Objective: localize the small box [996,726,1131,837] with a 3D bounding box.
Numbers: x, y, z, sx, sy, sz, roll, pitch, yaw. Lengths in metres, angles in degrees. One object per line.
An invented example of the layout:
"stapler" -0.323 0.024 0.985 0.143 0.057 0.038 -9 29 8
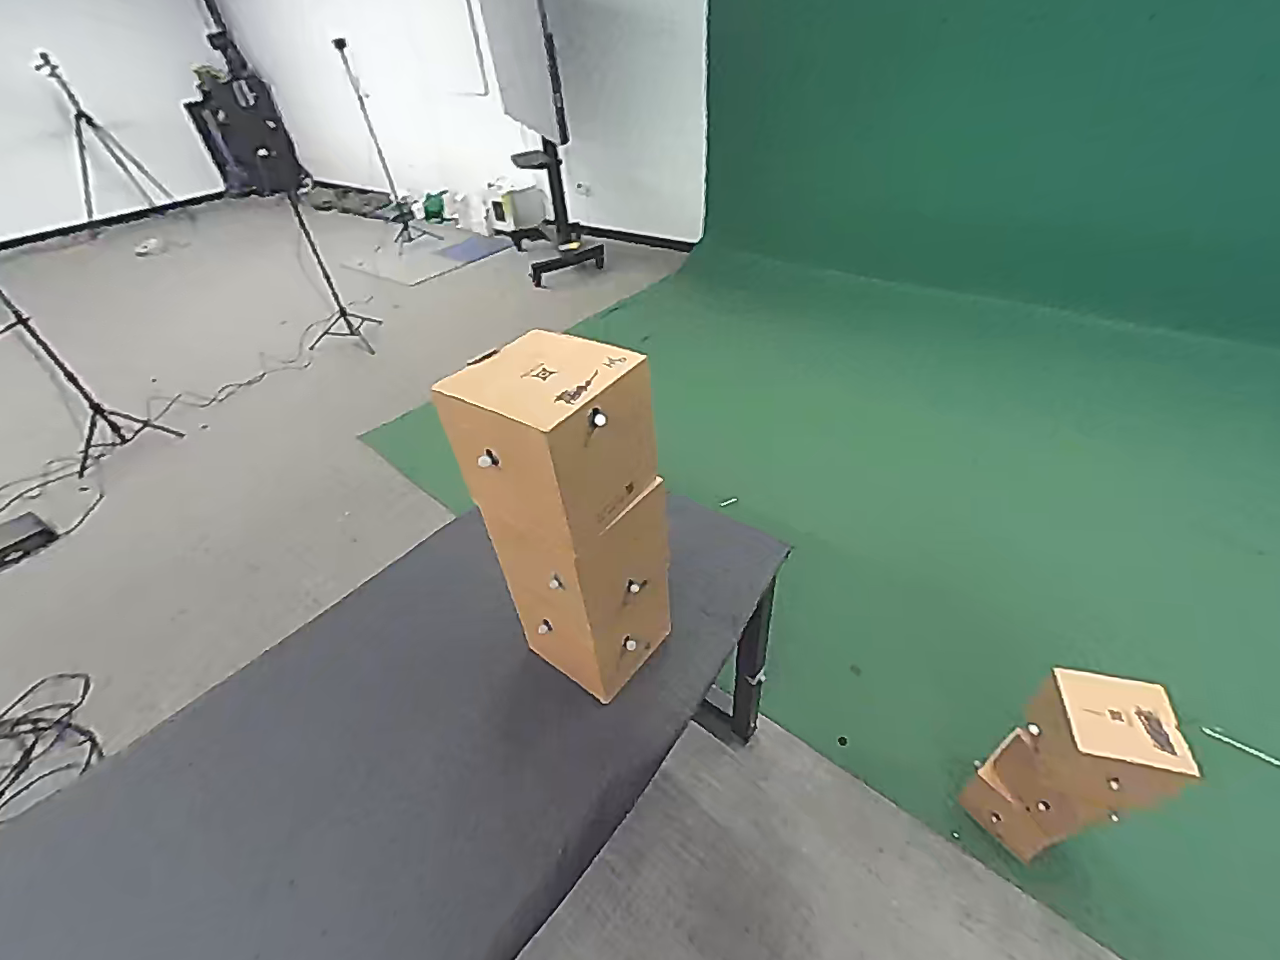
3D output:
"small box" 0.880 0.607 1.118 0.179 0.176 0.168 -11 43 -8

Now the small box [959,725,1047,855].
"small box" 0.870 0.714 1.243 0.179 0.176 0.168 -27 46 -23

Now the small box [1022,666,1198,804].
"small box" 0.861 0.480 1.014 0.179 0.176 0.168 7 44 15

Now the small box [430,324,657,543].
"small box" -0.098 -0.056 0.617 0.179 0.176 0.168 22 48 30

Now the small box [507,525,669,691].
"small box" -0.069 0.192 0.831 0.179 0.176 0.168 25 49 32
